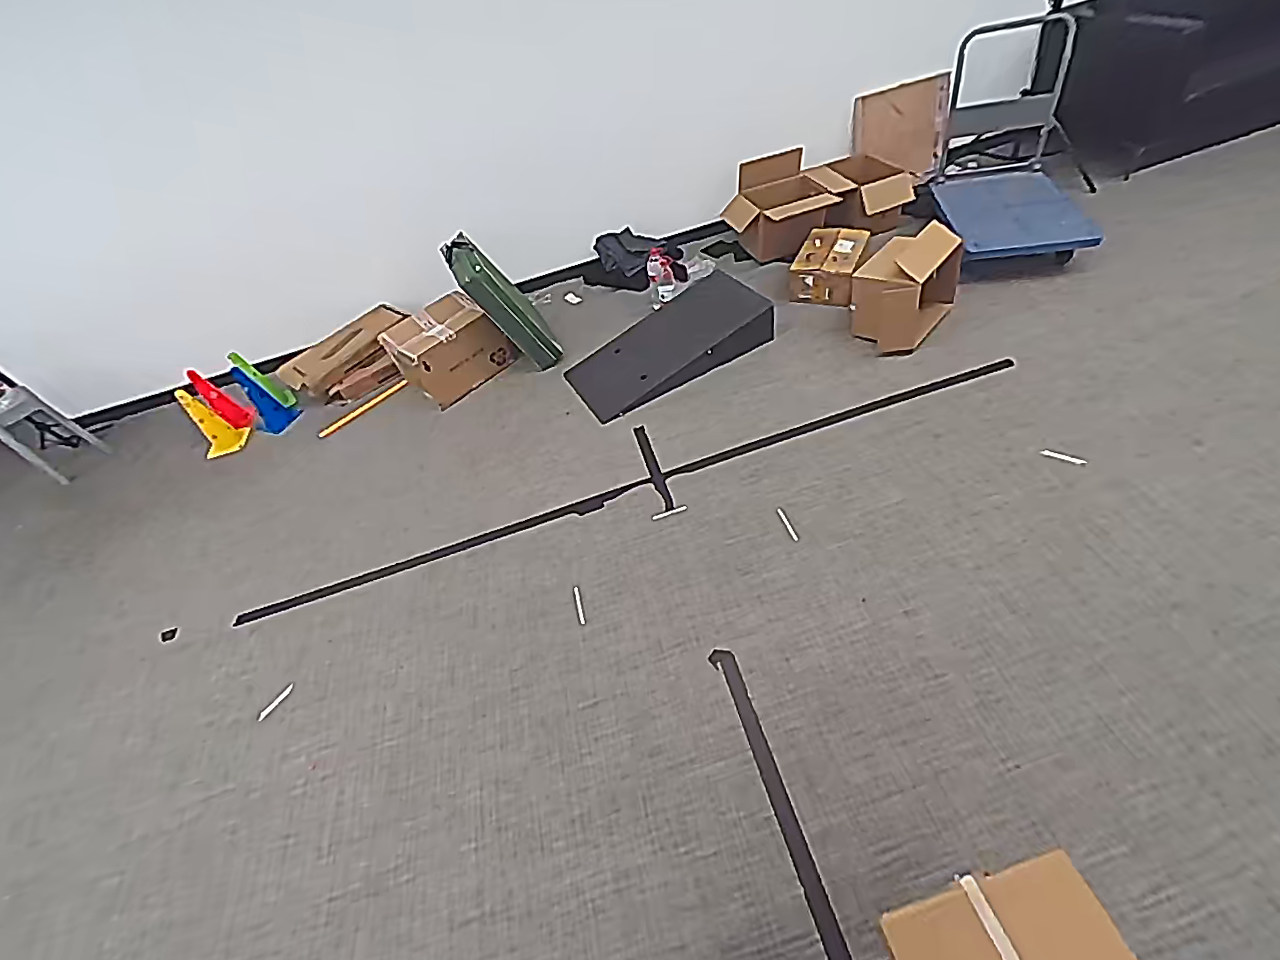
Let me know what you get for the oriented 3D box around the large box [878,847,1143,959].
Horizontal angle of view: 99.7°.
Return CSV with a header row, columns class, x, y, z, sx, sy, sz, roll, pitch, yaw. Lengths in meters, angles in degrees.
class,x,y,z,sx,sy,sz,roll,pitch,yaw
large box,0.626,0.864,0.841,0.320,0.320,0.408,-24,48,3
